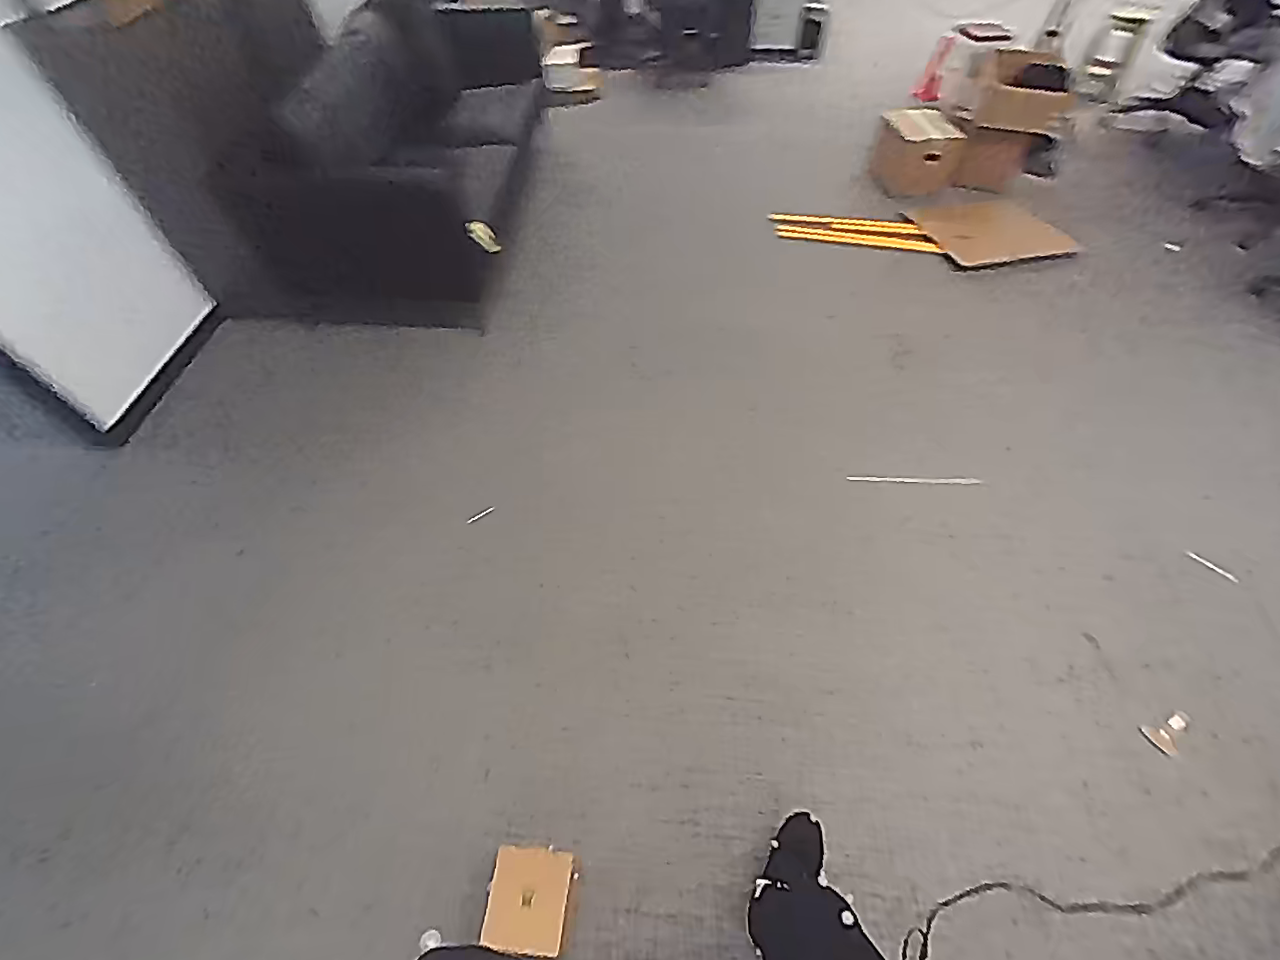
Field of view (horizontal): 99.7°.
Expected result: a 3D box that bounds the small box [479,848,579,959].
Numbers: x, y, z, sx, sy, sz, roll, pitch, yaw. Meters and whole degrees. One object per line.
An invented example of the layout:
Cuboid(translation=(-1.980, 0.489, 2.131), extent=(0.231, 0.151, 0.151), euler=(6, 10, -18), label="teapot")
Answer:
Cuboid(translation=(-0.232, 0.927, 1.187), extent=(0.168, 0.176, 0.179), euler=(3, 52, 5), label="small box")
